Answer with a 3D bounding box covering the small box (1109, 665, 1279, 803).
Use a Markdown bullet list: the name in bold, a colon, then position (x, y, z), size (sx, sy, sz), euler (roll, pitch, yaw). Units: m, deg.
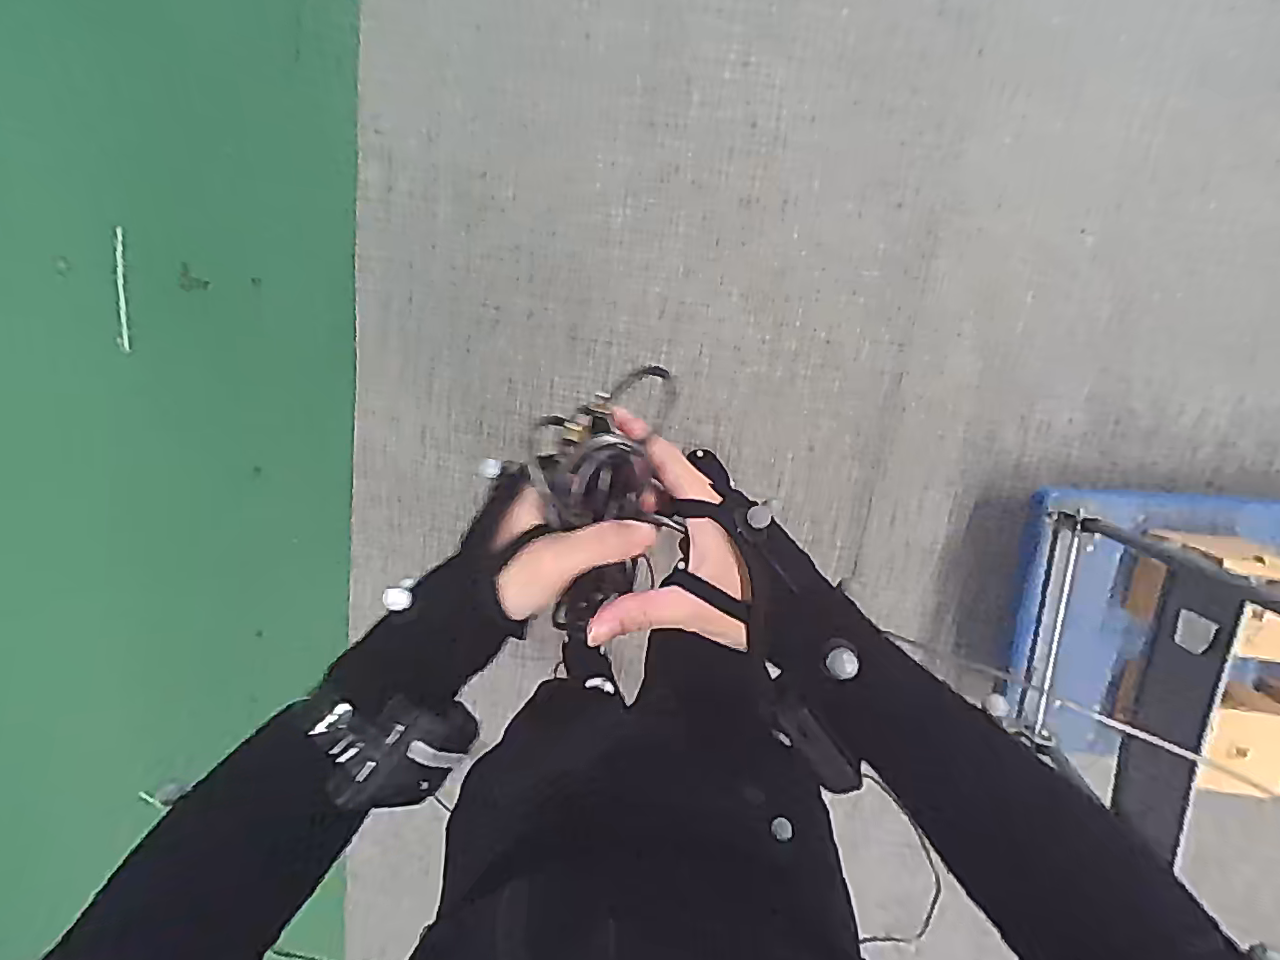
- **small box**: position (1.078, 0.480, 1.047), size (0.179, 0.176, 0.168), euler (6, 102, 7)
